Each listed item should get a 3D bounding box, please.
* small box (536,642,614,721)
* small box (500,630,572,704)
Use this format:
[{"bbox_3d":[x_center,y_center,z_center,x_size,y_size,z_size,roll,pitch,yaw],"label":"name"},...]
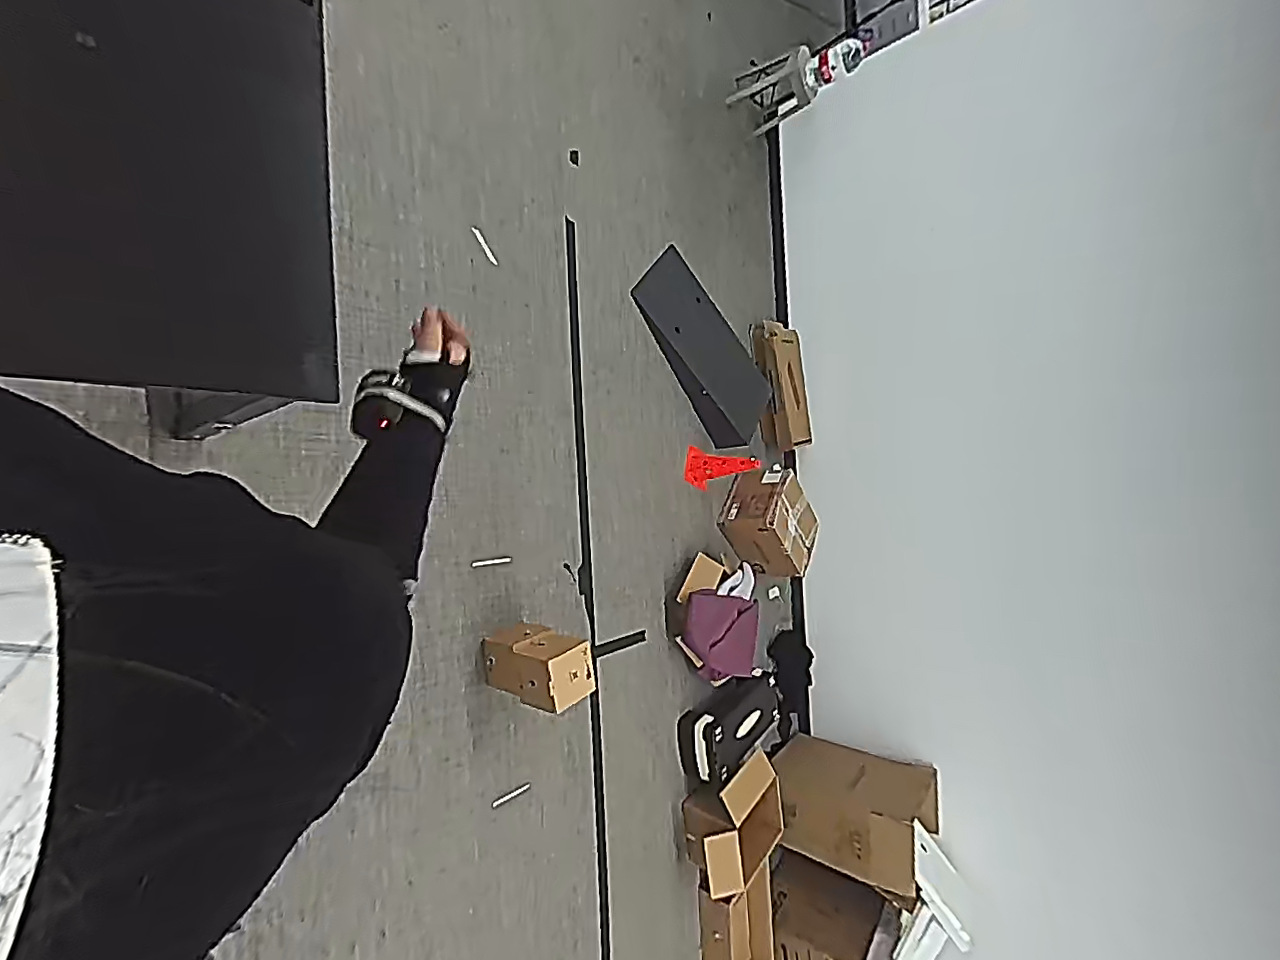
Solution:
[{"bbox_3d":[-0.206,0.616,1.674,0.179,0.176,0.168,-13,97,-50],"label":"small box"},{"bbox_3d":[-0.334,0.606,1.778,0.179,0.176,0.168,-11,96,-50],"label":"small box"}]
